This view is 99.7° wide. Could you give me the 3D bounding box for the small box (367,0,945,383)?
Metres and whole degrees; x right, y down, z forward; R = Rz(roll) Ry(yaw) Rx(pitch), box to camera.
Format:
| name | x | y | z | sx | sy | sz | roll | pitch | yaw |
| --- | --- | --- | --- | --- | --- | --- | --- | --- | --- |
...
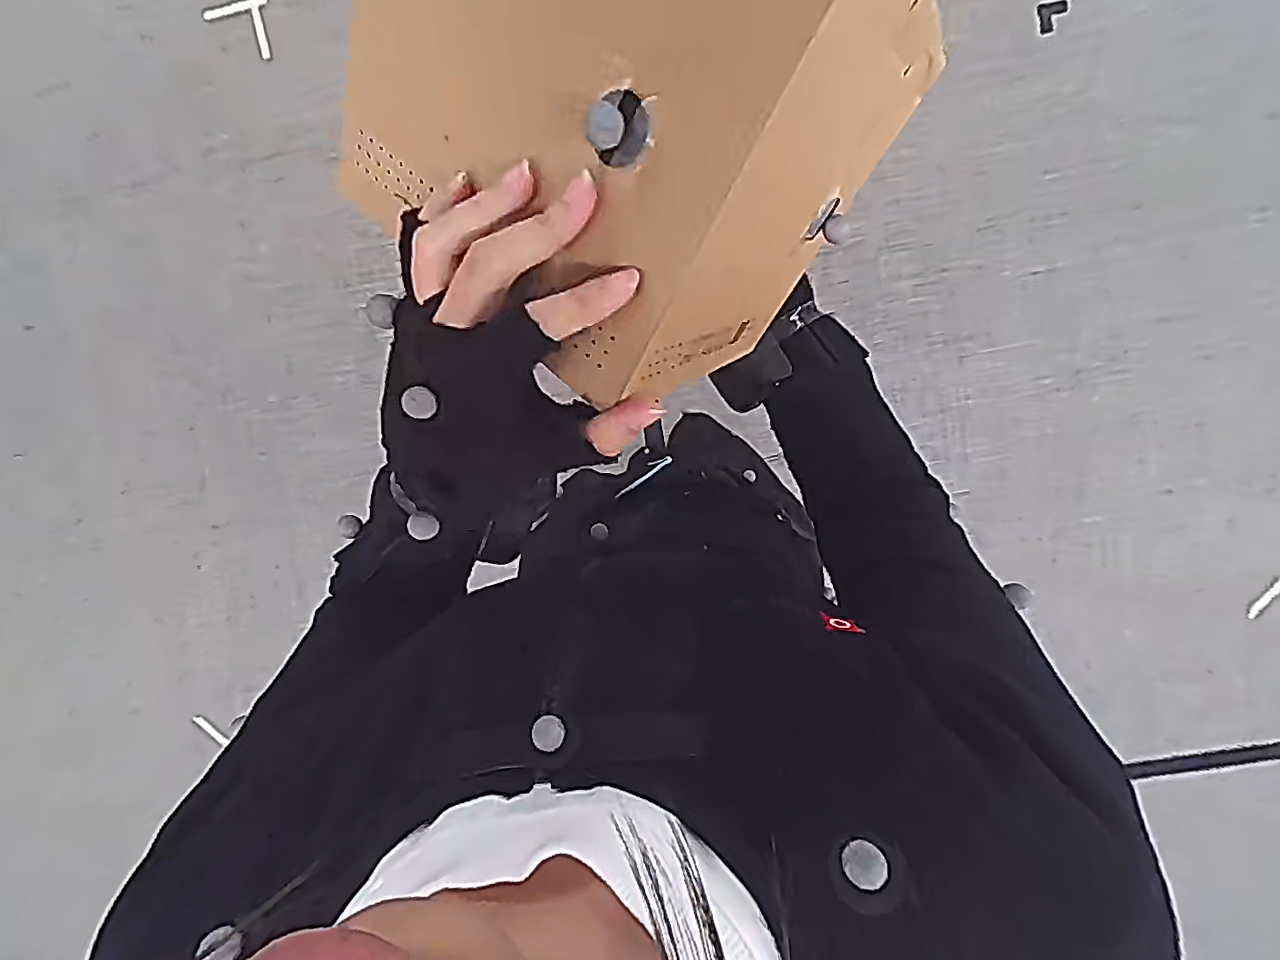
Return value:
| name | x | y | z | sx | sy | sz | roll | pitch | yaw |
| --- | --- | --- | --- | --- | --- | --- | --- | --- | --- |
| small box | 0.003 | -0.163 | 0.256 | 0.179 | 0.168 | 0.176 | 41 | 126 | 11 |
